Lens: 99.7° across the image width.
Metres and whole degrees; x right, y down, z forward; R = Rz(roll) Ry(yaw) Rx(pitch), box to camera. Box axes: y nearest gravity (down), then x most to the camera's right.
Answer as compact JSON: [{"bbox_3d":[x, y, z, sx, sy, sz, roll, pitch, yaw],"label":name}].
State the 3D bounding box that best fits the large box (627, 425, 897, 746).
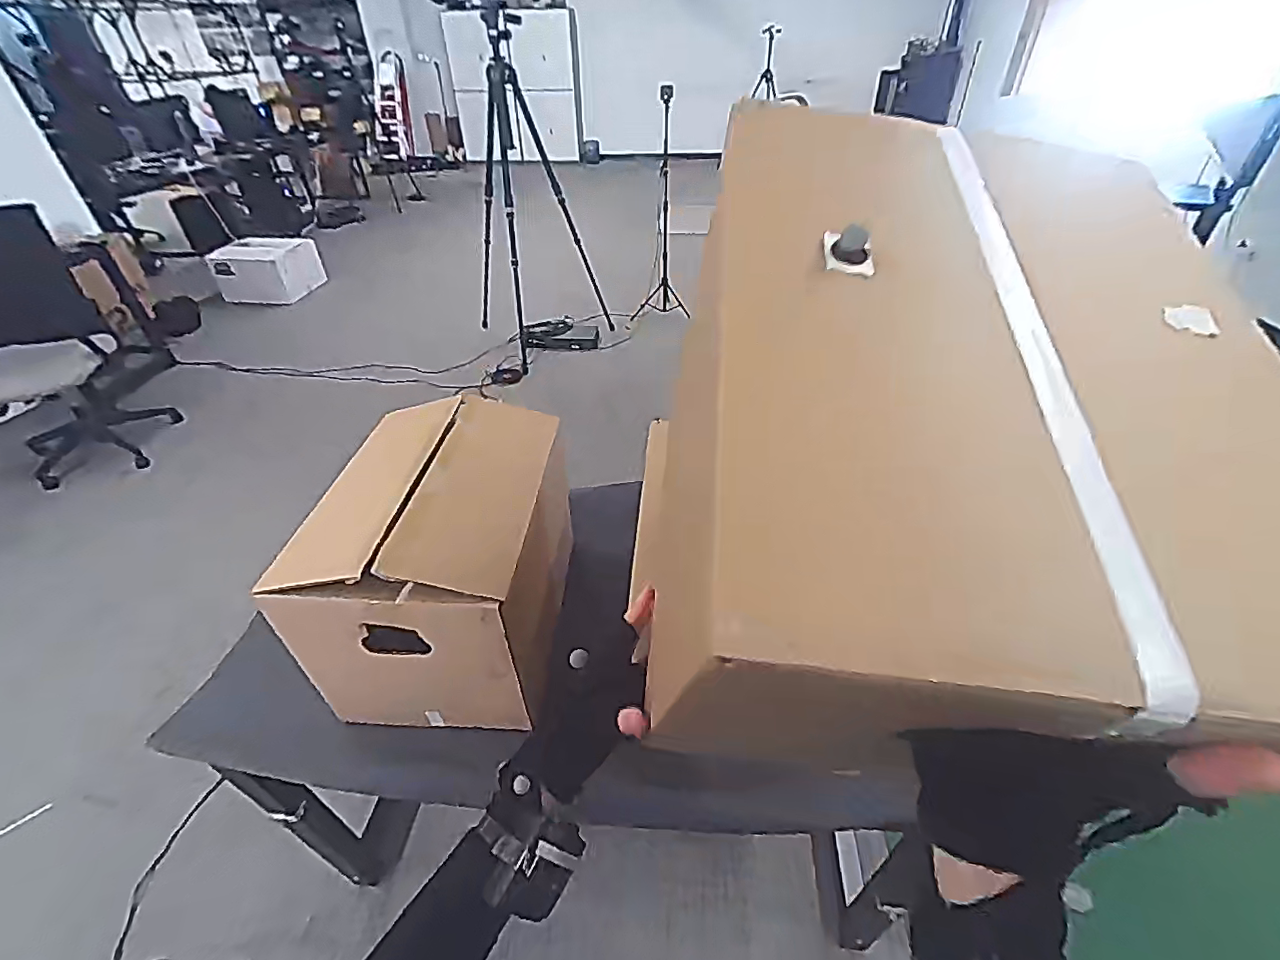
[{"bbox_3d":[0.158,0.151,0.856,0.320,0.320,0.408,1,38,5],"label":"large box"}]
